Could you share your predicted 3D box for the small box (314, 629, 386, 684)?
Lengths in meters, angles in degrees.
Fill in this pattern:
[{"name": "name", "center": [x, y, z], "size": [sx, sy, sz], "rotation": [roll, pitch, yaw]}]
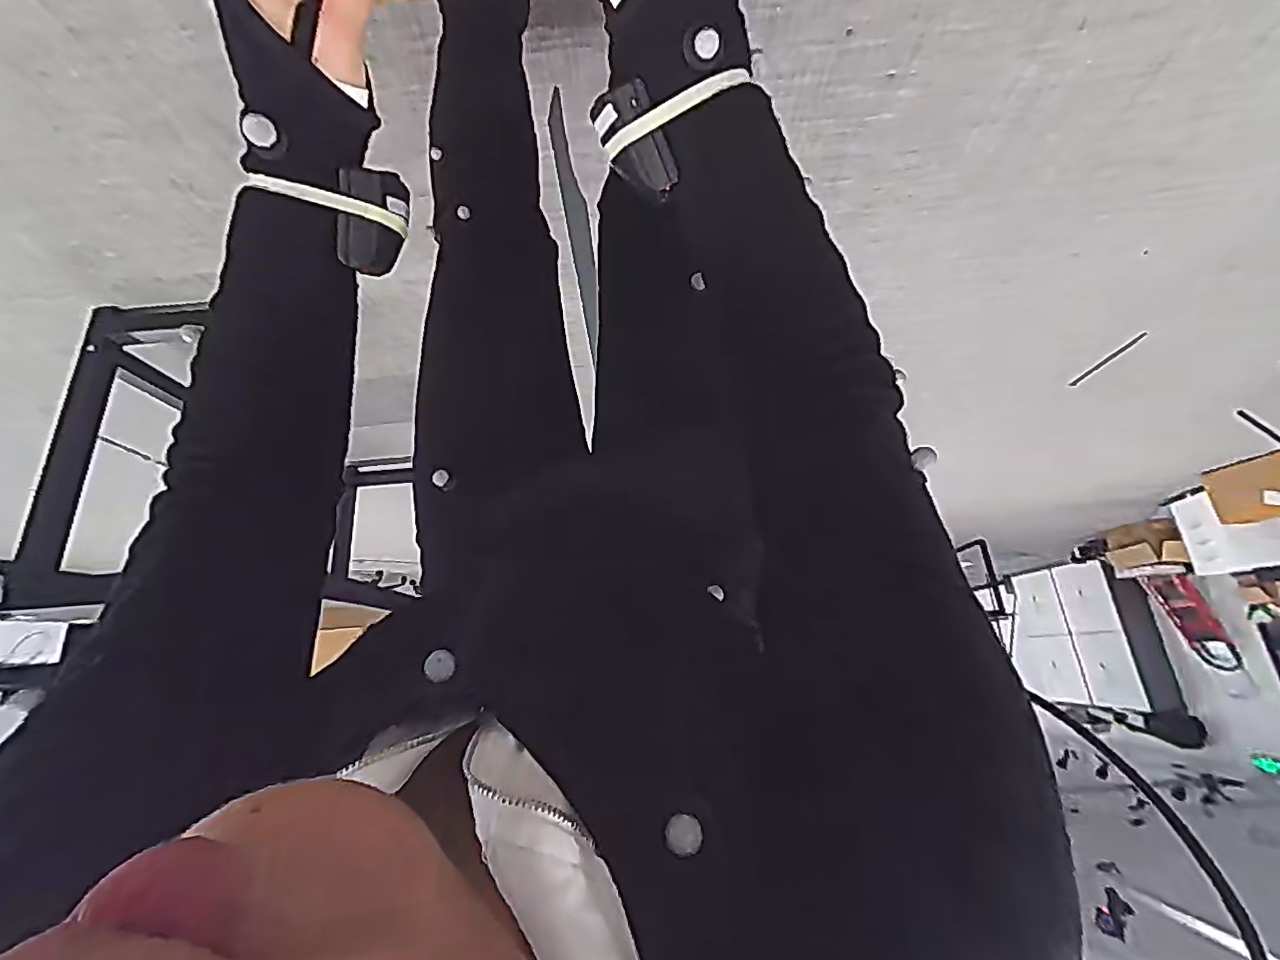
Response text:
[{"name": "small box", "center": [-1.008, 0.618, 1.896], "size": [0.179, 0.176, 0.168], "rotation": [-4, 160, -2]}]
